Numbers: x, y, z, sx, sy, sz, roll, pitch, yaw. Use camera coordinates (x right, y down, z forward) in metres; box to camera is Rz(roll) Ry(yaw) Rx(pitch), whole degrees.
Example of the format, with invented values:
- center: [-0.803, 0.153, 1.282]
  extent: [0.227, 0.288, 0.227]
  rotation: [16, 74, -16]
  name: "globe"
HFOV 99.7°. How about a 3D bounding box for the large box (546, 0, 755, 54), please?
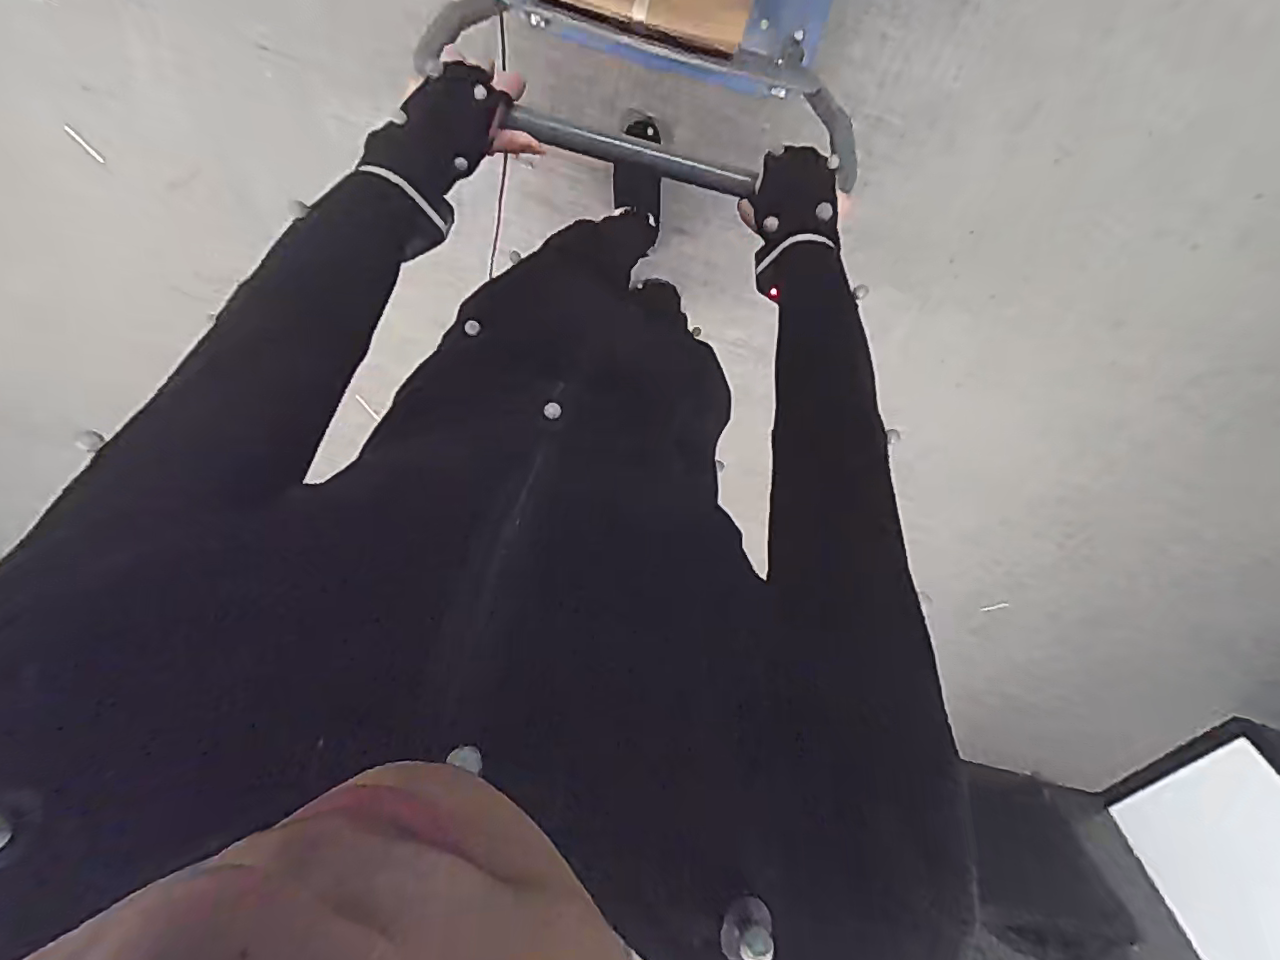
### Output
- center: [0.051, -0.909, 0.785]
  extent: [0.320, 0.320, 0.408]
  rotation: [12, 130, -7]
  name: "large box"
